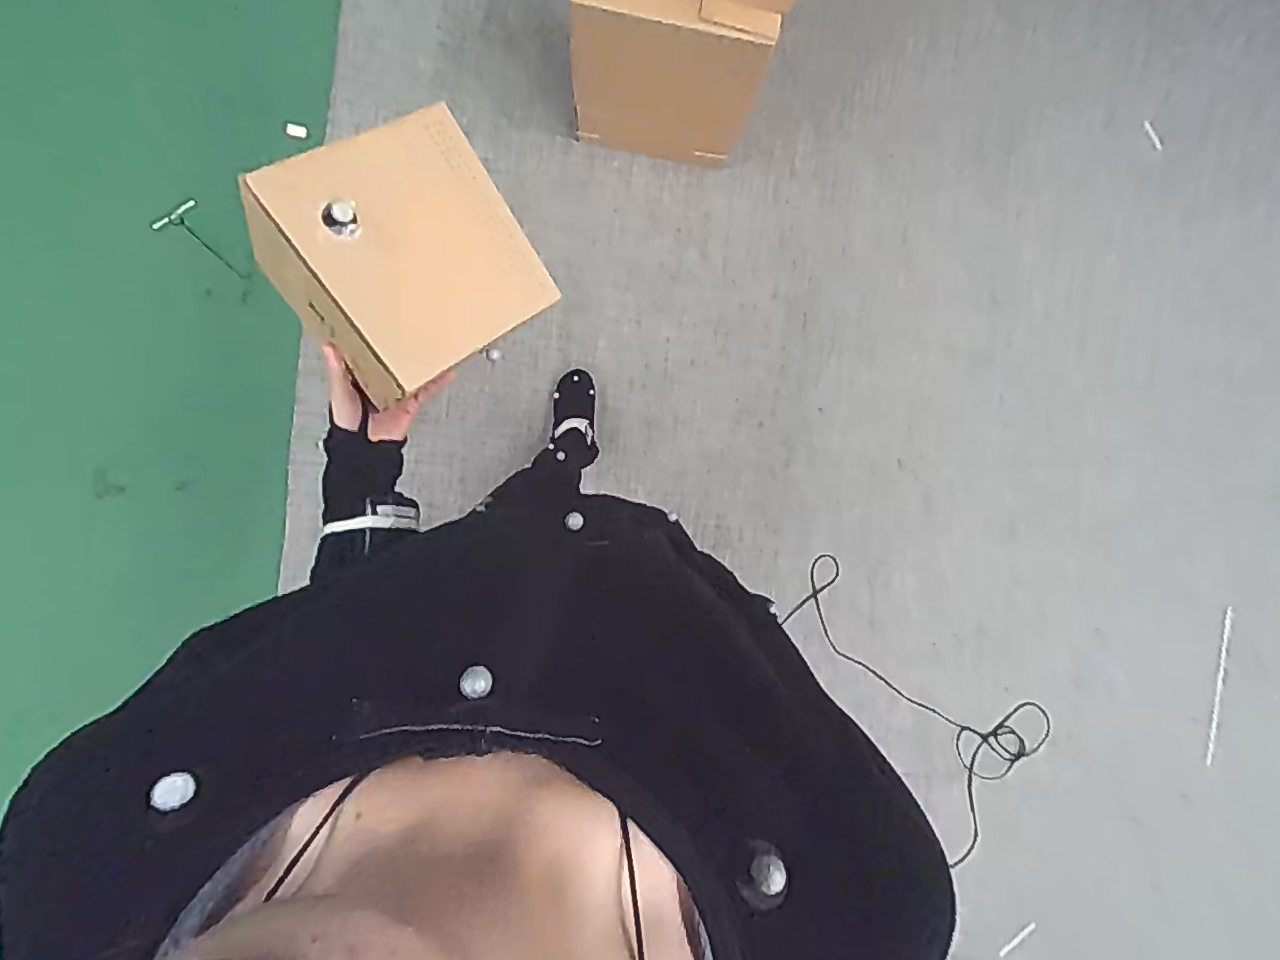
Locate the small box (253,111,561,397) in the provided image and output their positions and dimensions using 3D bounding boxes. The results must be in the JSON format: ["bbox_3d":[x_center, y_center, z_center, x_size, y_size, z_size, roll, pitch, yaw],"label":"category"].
[{"bbox_3d":[-0.206,-0.200,0.495,0.176,0.168,0.179,-41,112,-23],"label":"small box"}]
